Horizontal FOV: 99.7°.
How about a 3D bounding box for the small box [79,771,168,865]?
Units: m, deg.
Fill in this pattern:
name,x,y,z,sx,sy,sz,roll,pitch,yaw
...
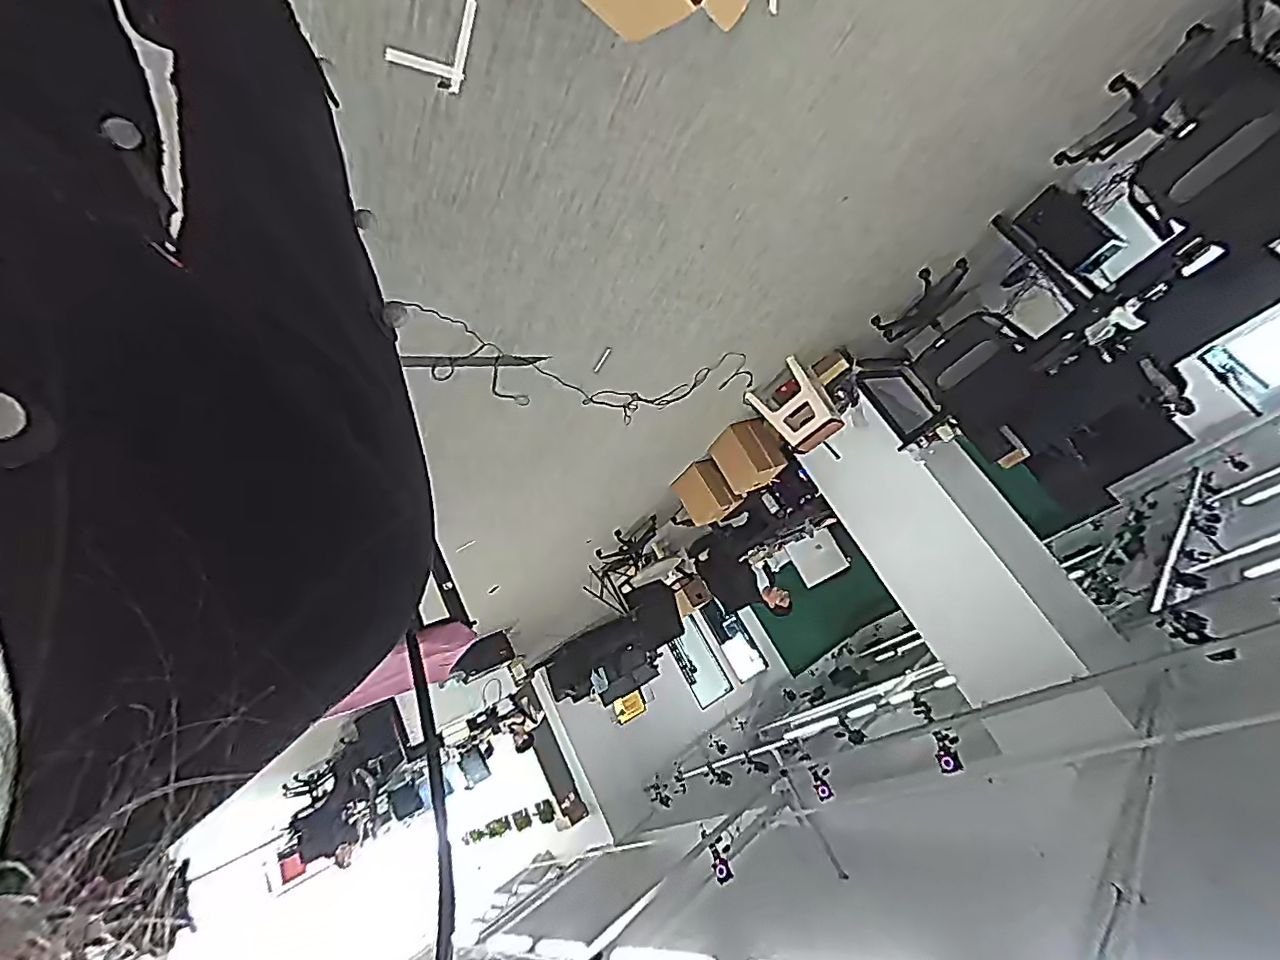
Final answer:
name,x,y,z,sx,sy,sz,roll,pitch,yaw
small box,-1.556,1.012,1.630,0.179,0.176,0.168,-7,149,-47
